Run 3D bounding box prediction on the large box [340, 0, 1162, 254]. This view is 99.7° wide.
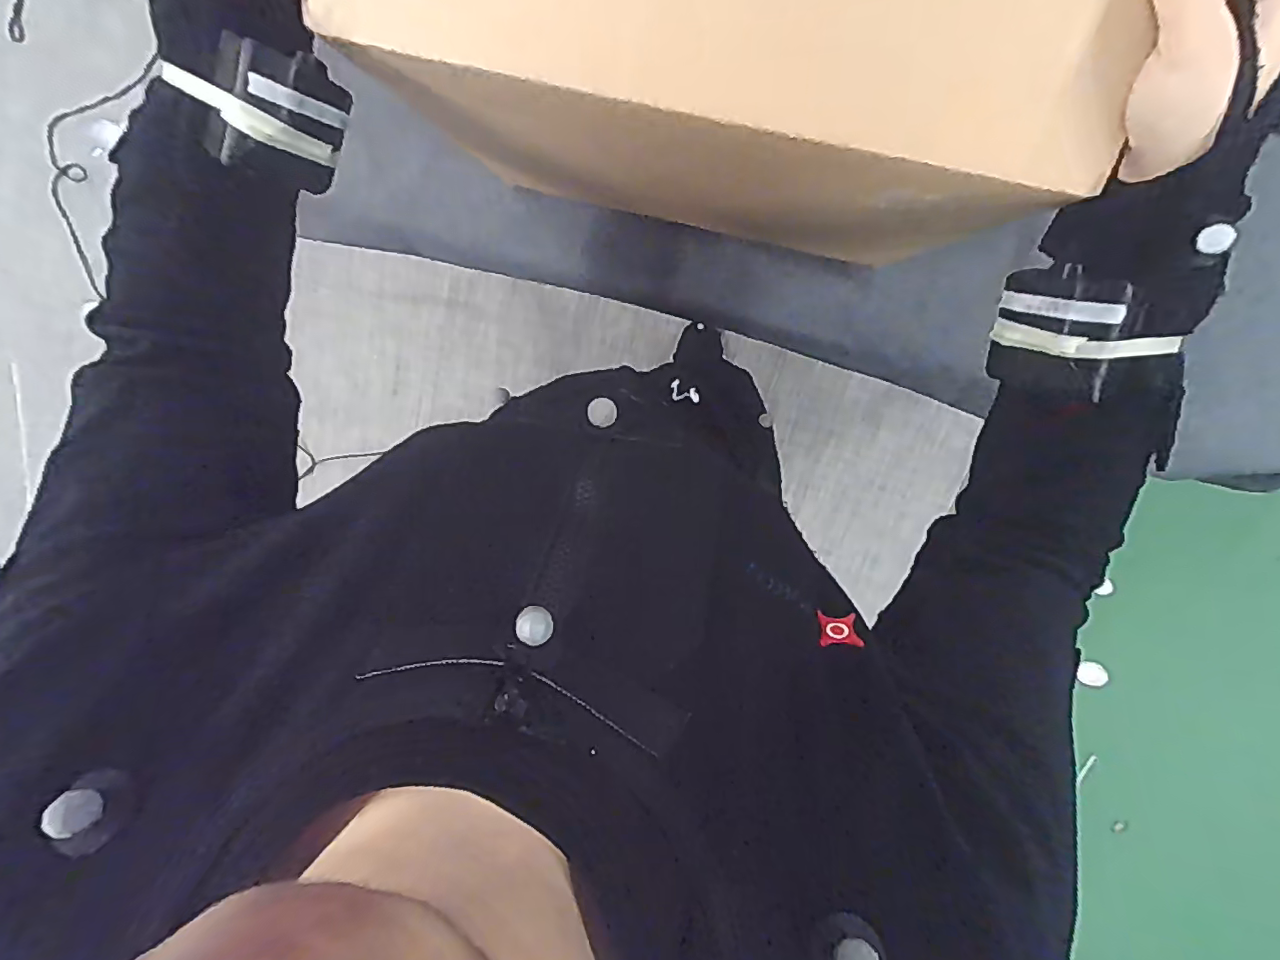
[{"bbox_3d":[0.076,-0.375,0.378,0.408,0.320,0.320,13,107,1],"label":"large box"}]
